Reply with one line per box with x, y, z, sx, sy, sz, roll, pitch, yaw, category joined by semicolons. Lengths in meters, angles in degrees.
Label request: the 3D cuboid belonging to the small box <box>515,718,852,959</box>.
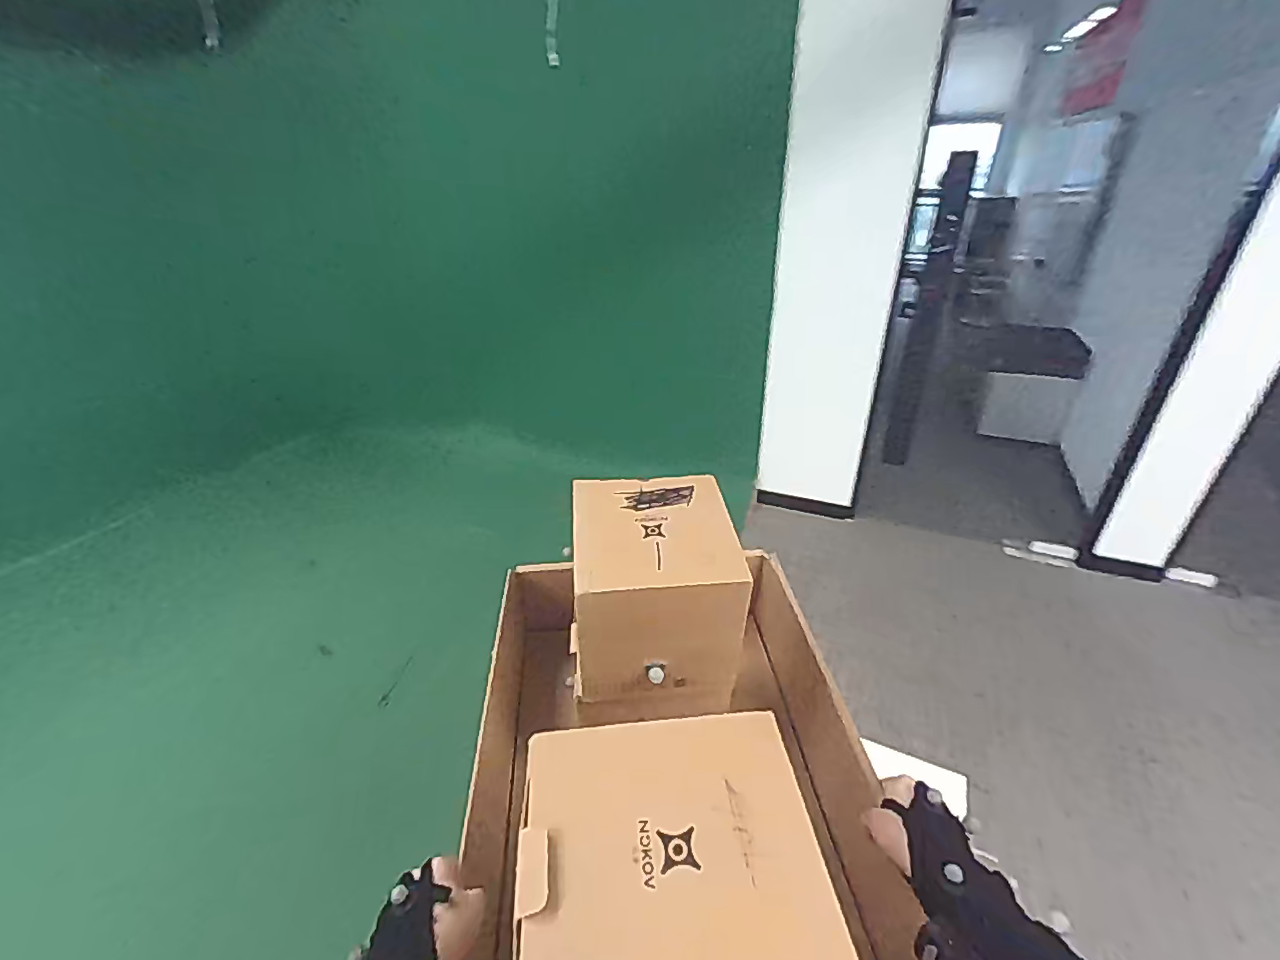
0.016;0.289;0.361;0.179;0.176;0.168;-3;35;-7;small box

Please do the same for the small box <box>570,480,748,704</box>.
0.008;0.119;0.601;0.168;0.176;0.179;-3;36;-6;small box
